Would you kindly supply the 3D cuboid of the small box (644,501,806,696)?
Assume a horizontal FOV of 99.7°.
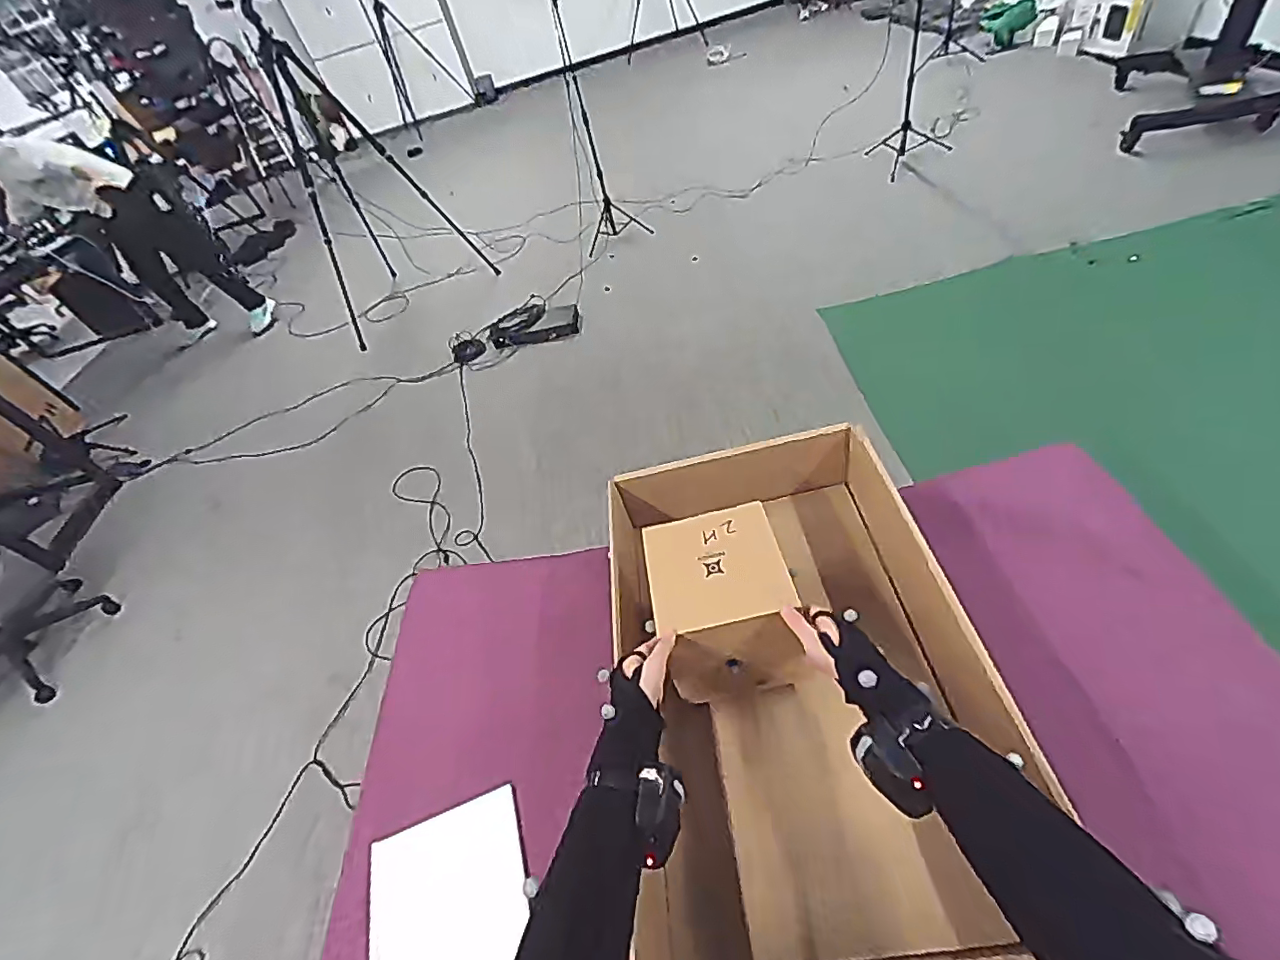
[{"bbox_3d":[0.110,0.161,0.706,0.168,0.176,0.179,-15,40,6],"label":"small box"}]
